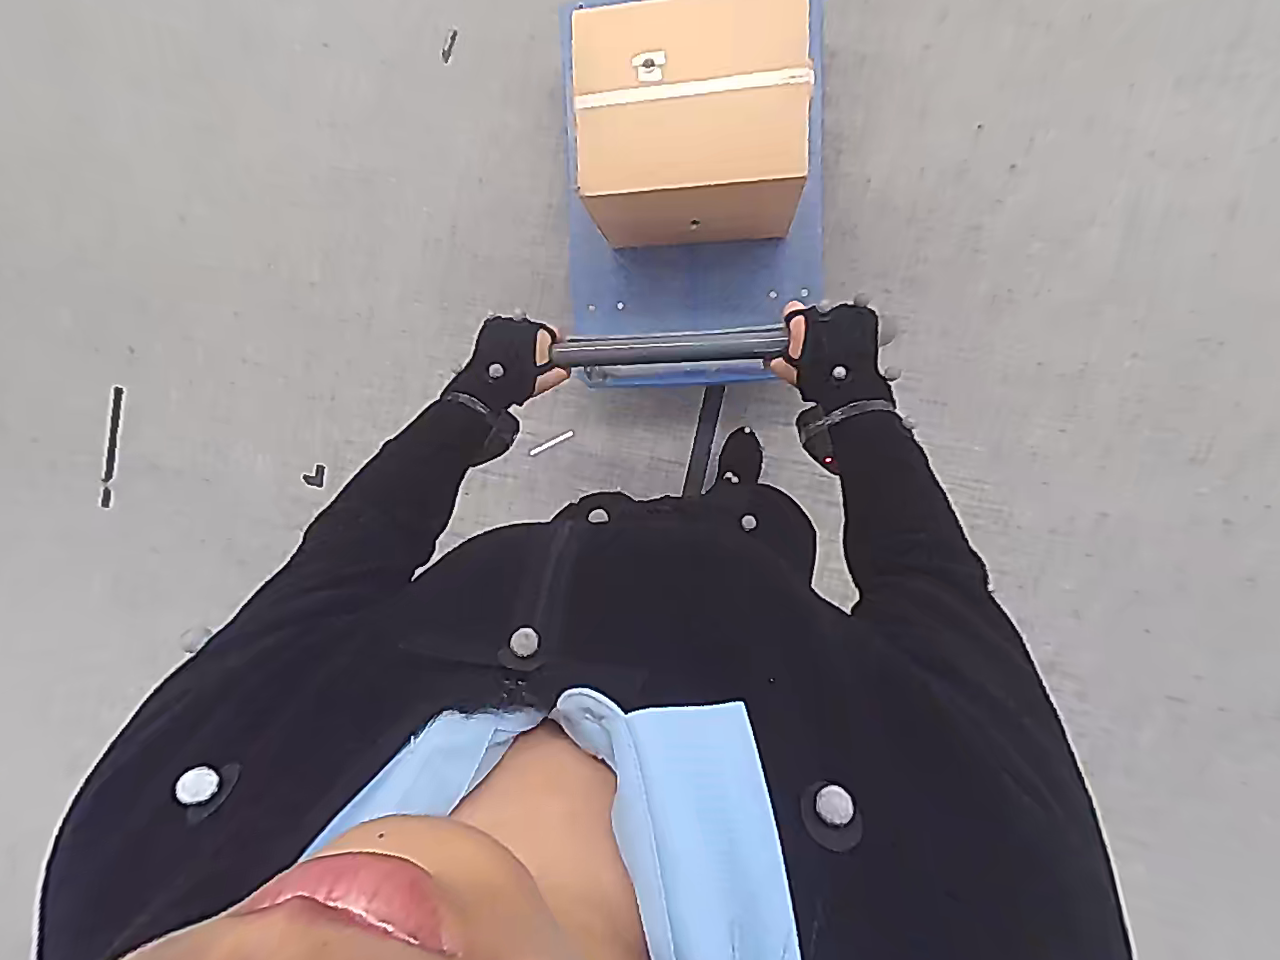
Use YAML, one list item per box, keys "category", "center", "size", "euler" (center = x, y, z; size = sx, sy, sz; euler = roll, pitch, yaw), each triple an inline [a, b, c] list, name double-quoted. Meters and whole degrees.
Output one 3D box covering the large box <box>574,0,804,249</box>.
- category: "large box"
  center: [0.108, -0.686, 1.100]
  size: [0.408, 0.320, 0.320]
  euler: [-1, 95, 10]
